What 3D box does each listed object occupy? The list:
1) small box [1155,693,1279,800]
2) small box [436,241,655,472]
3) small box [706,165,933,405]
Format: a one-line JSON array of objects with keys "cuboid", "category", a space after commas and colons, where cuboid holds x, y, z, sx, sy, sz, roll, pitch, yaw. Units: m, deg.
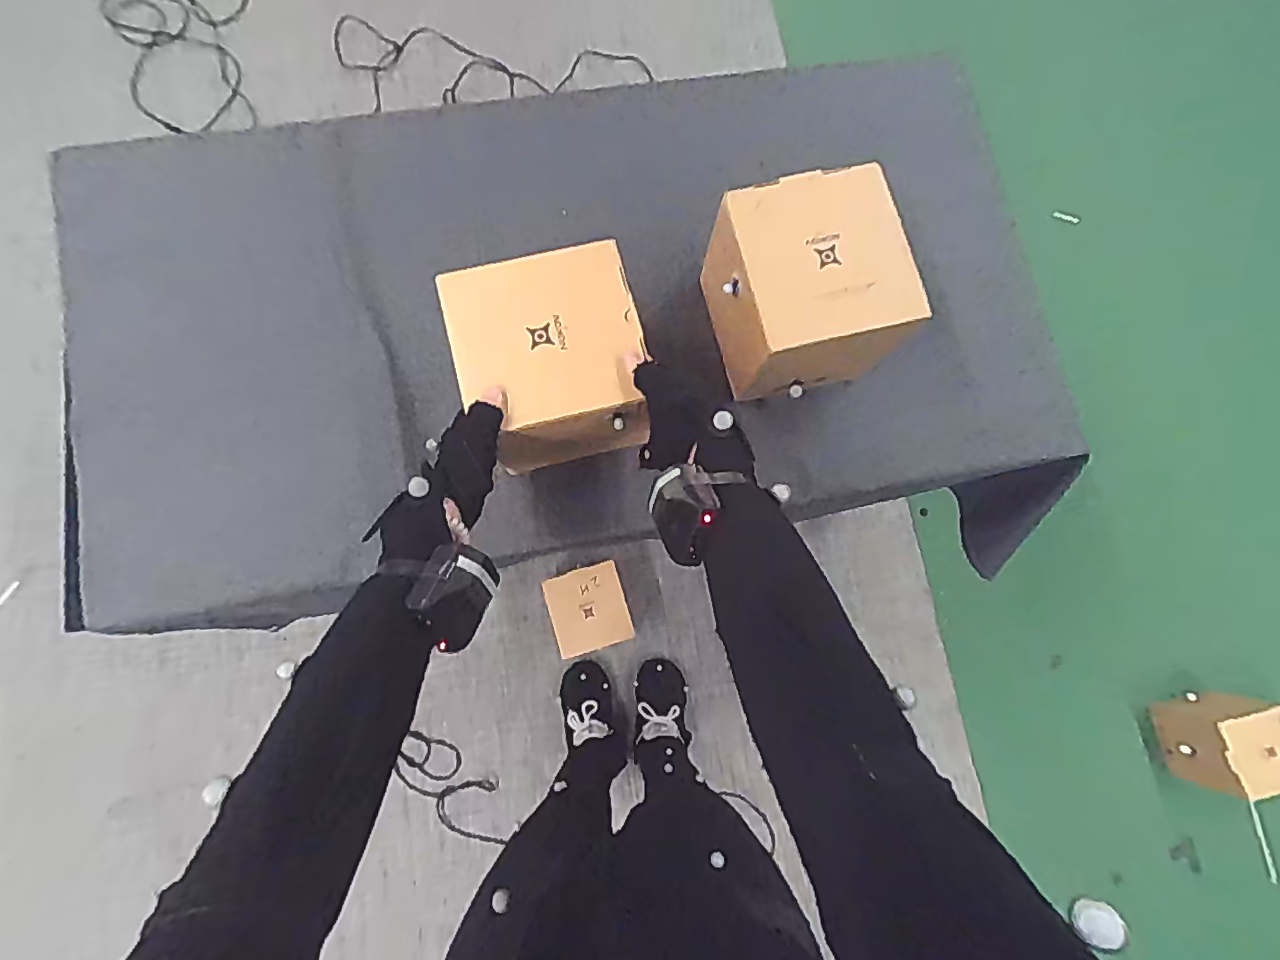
[{"cuboid": [1.357, 0.607, 1.251, 0.179, 0.176, 0.168, -11, 81, -3], "category": "small box"}, {"cuboid": [-0.090, -0.116, 0.573, 0.179, 0.176, 0.168, -14, 81, -5], "category": "small box"}, {"cuboid": [0.178, -0.202, 0.598, 0.168, 0.176, 0.179, -12, 81, -4], "category": "small box"}]
